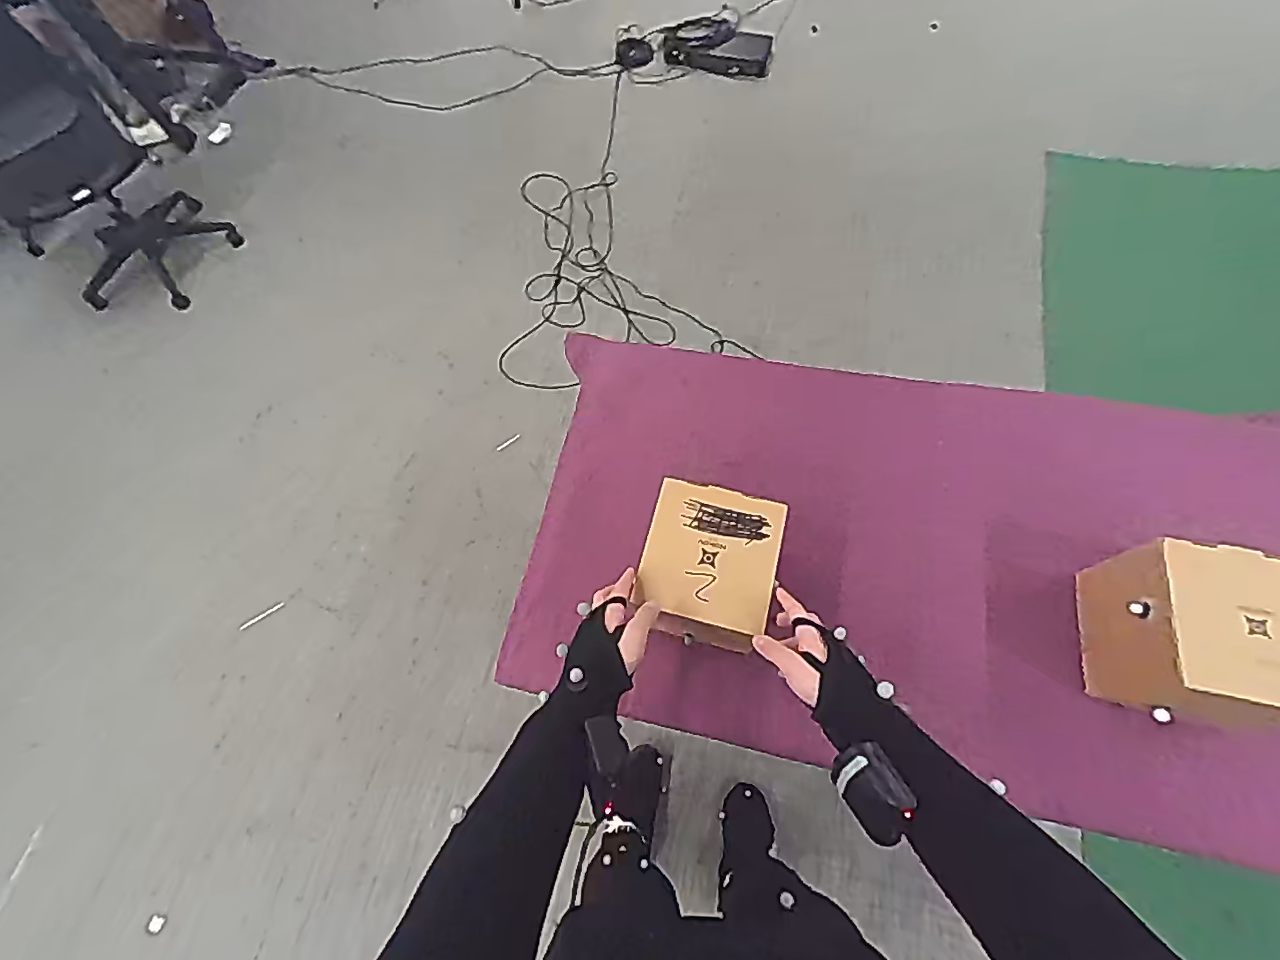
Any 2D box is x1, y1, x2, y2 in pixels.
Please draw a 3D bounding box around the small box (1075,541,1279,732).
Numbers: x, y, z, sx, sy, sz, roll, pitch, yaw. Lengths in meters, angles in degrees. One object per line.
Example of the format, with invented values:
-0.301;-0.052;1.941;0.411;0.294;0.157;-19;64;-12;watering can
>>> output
0.678;0.198;0.667;0.168;0.176;0.179;11;67;11;small box
